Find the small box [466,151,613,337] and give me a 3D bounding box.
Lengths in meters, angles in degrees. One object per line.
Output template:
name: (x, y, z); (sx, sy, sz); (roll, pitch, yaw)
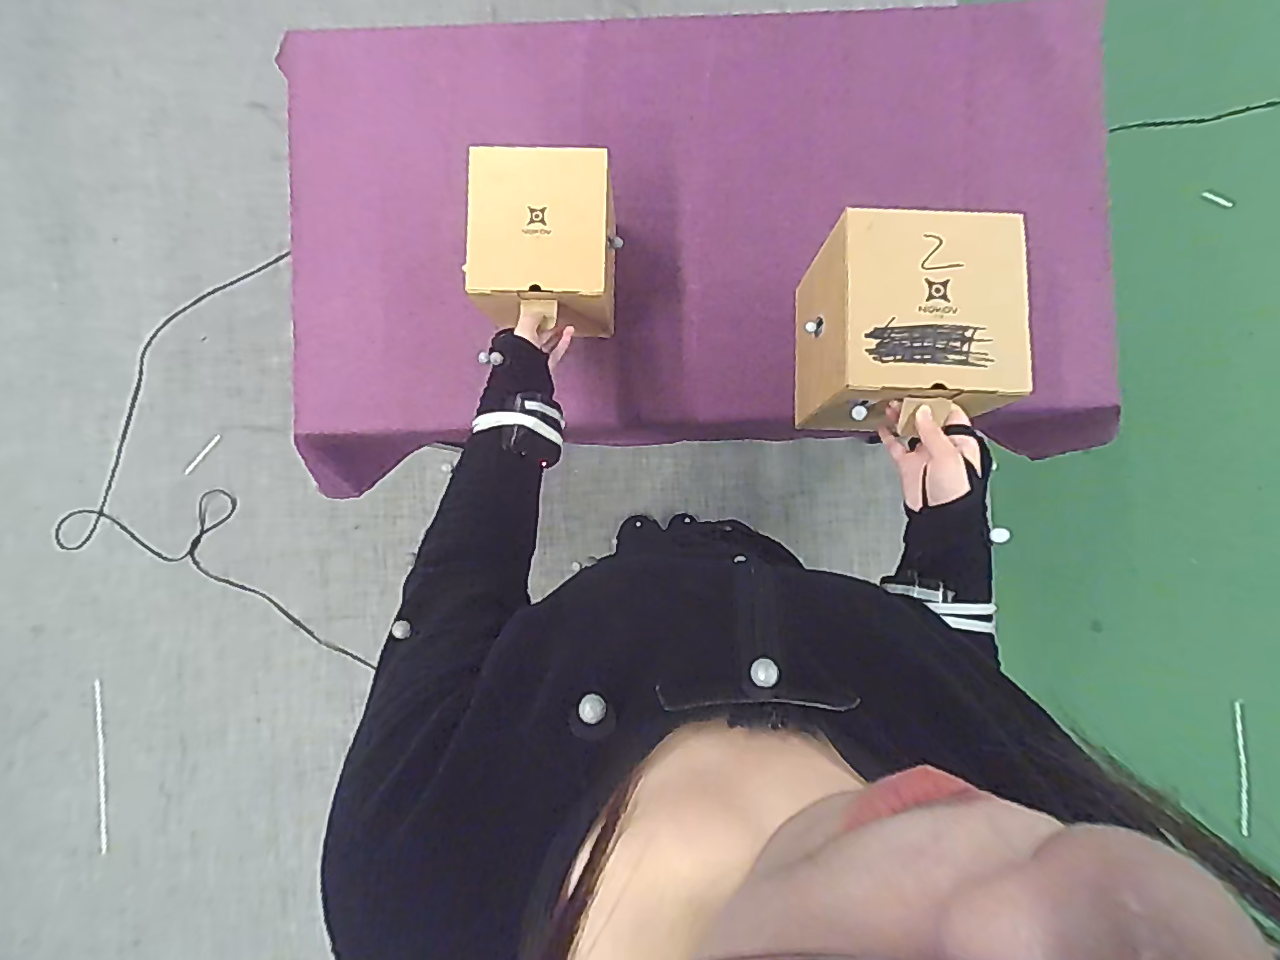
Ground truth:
small box: (-0.125, -0.307, 0.730); (0.168, 0.176, 0.179); (1, 89, 0)
